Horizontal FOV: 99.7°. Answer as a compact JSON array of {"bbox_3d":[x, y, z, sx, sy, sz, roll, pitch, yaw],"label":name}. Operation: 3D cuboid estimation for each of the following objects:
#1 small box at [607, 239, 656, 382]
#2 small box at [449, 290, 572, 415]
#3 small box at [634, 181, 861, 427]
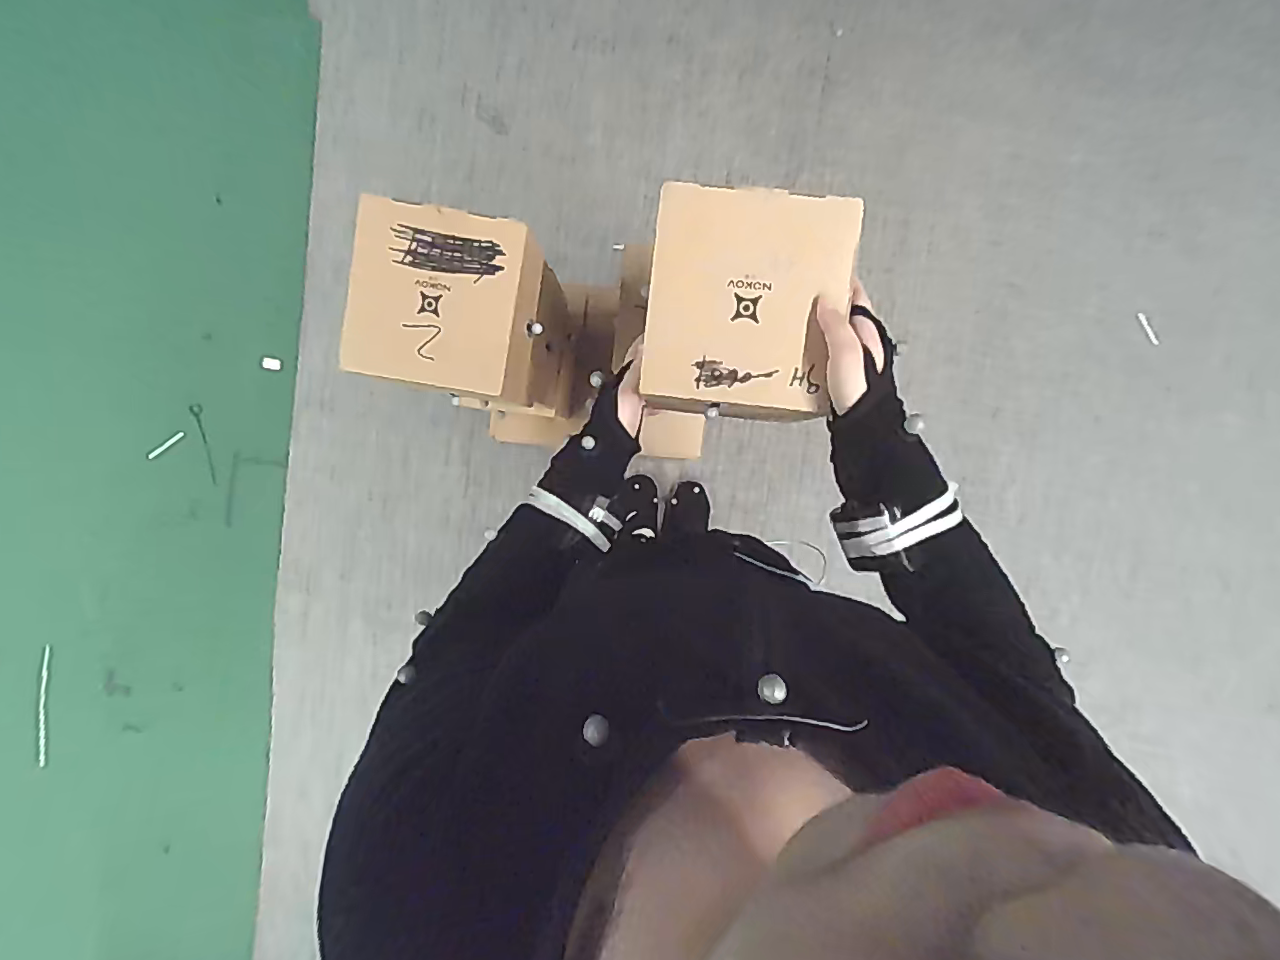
[{"bbox_3d":[0.054,-0.225,0.778,0.179,0.176,0.168,7,94,1],"label":"small box"},{"bbox_3d":[-0.215,-0.211,0.942,0.168,0.176,0.179,8,94,-2],"label":"small box"},{"bbox_3d":[0.090,-0.151,0.521,0.168,0.176,0.179,8,94,3],"label":"small box"}]
